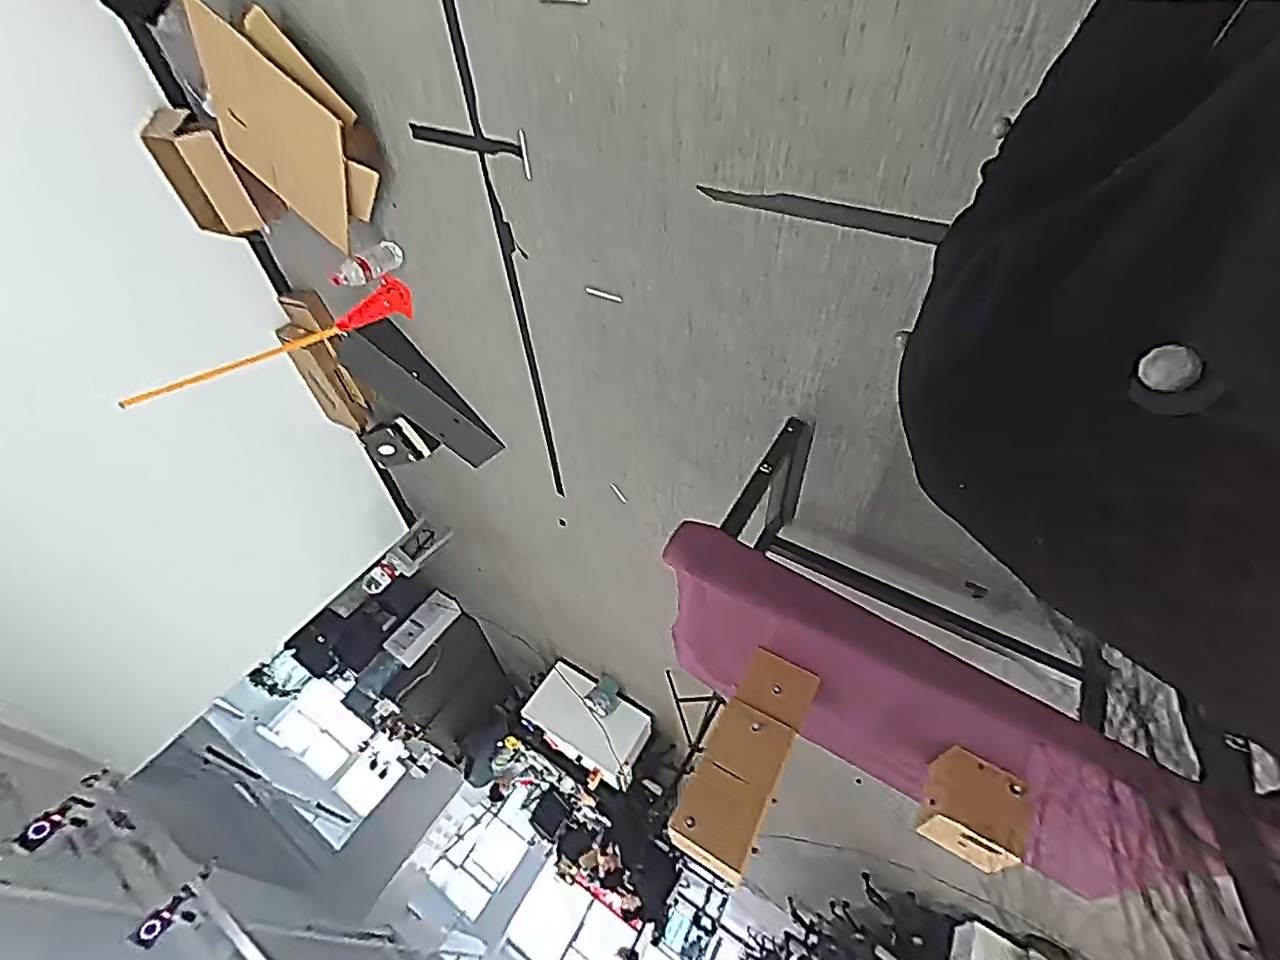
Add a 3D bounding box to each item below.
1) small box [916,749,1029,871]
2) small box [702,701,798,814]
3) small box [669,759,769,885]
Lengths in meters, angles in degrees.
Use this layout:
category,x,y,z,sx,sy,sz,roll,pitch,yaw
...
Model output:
category,x,y,z,sx,sy,sz,roll,pitch,yaw
small box,0.770,0.757,1.250,0.168,0.176,0.179,24,143,23
small box,0.271,0.679,1.342,0.179,0.176,0.168,20,142,26
small box,0.186,0.789,1.256,0.179,0.176,0.168,20,141,26
